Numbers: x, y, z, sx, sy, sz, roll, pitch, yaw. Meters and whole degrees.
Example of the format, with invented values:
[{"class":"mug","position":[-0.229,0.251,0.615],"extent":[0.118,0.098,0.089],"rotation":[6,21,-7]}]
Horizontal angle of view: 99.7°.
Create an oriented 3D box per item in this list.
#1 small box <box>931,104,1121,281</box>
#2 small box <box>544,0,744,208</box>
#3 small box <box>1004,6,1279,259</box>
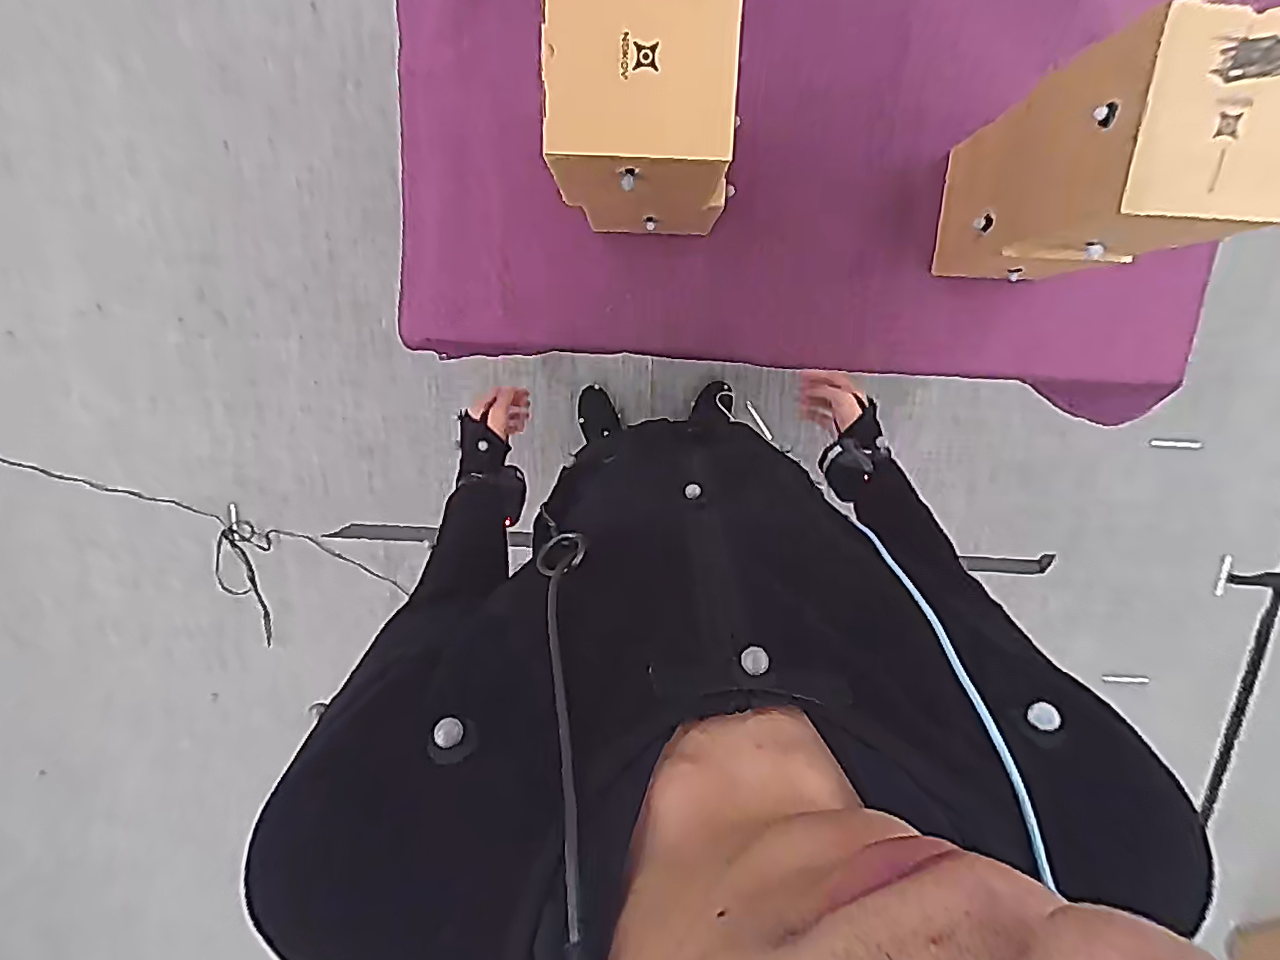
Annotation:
[{"class":"small box","position":[0.528,-0.375,0.738],"extent":[0.168,0.176,0.179],"rotation":[3,103,-2]},{"class":"small box","position":[0.002,-0.392,0.559],"extent":[0.179,0.176,0.168],"rotation":[2,103,0]},{"class":"small box","position":[0.531,-0.347,0.576],"extent":[0.168,0.176,0.179],"rotation":[3,103,-1]}]
